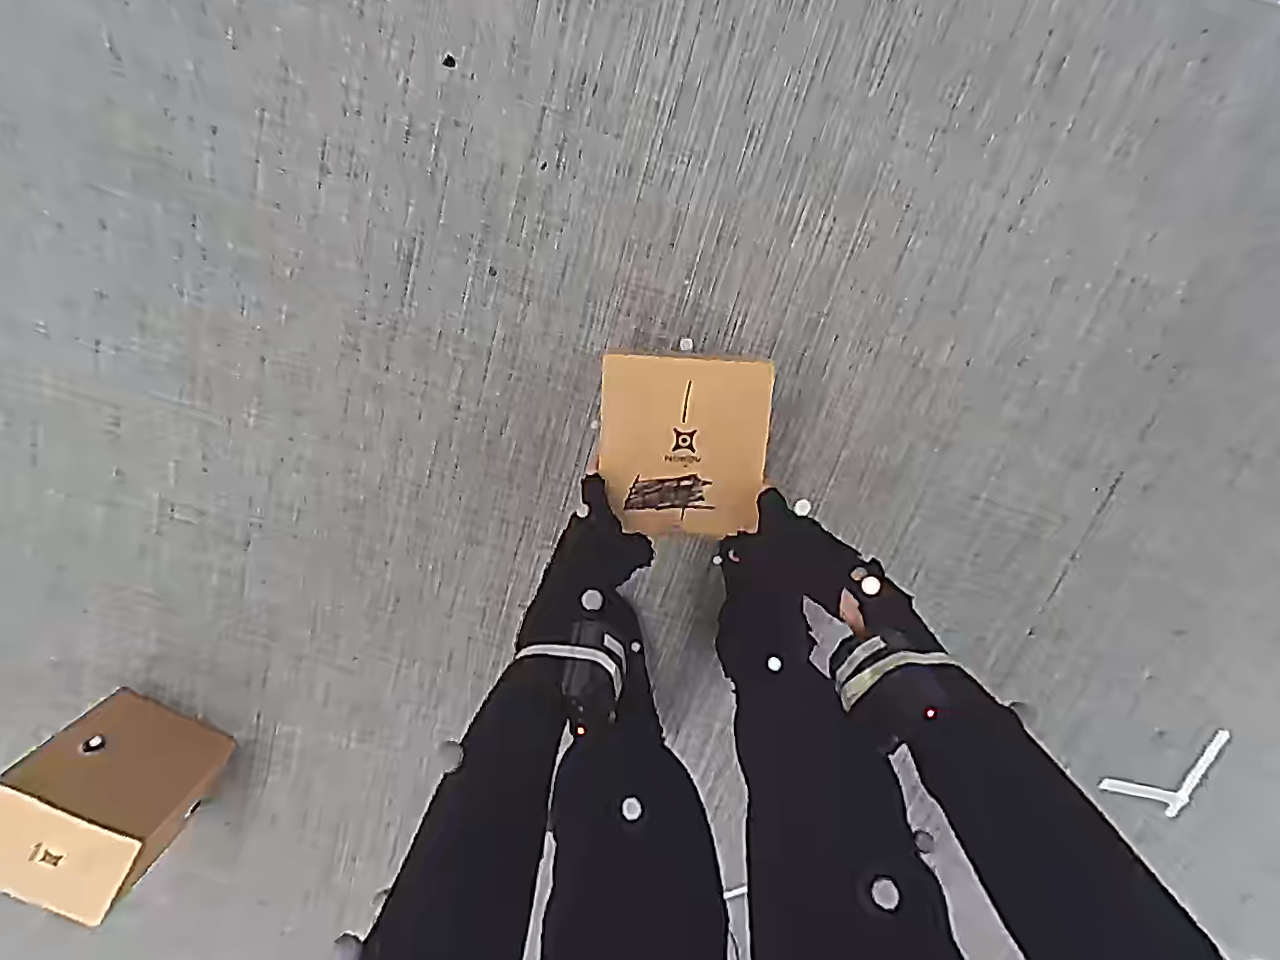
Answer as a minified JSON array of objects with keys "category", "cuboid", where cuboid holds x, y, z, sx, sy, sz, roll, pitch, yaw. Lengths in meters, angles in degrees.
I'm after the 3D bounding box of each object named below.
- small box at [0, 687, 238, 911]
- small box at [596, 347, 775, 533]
[{"category":"small box","cuboid":[-0.704,0.412,0.726,0.179,0.176,0.168,32,104,-11]},{"category":"small box","cuboid":[0.043,-0.055,0.608,0.168,0.176,0.179,3,104,0]}]
